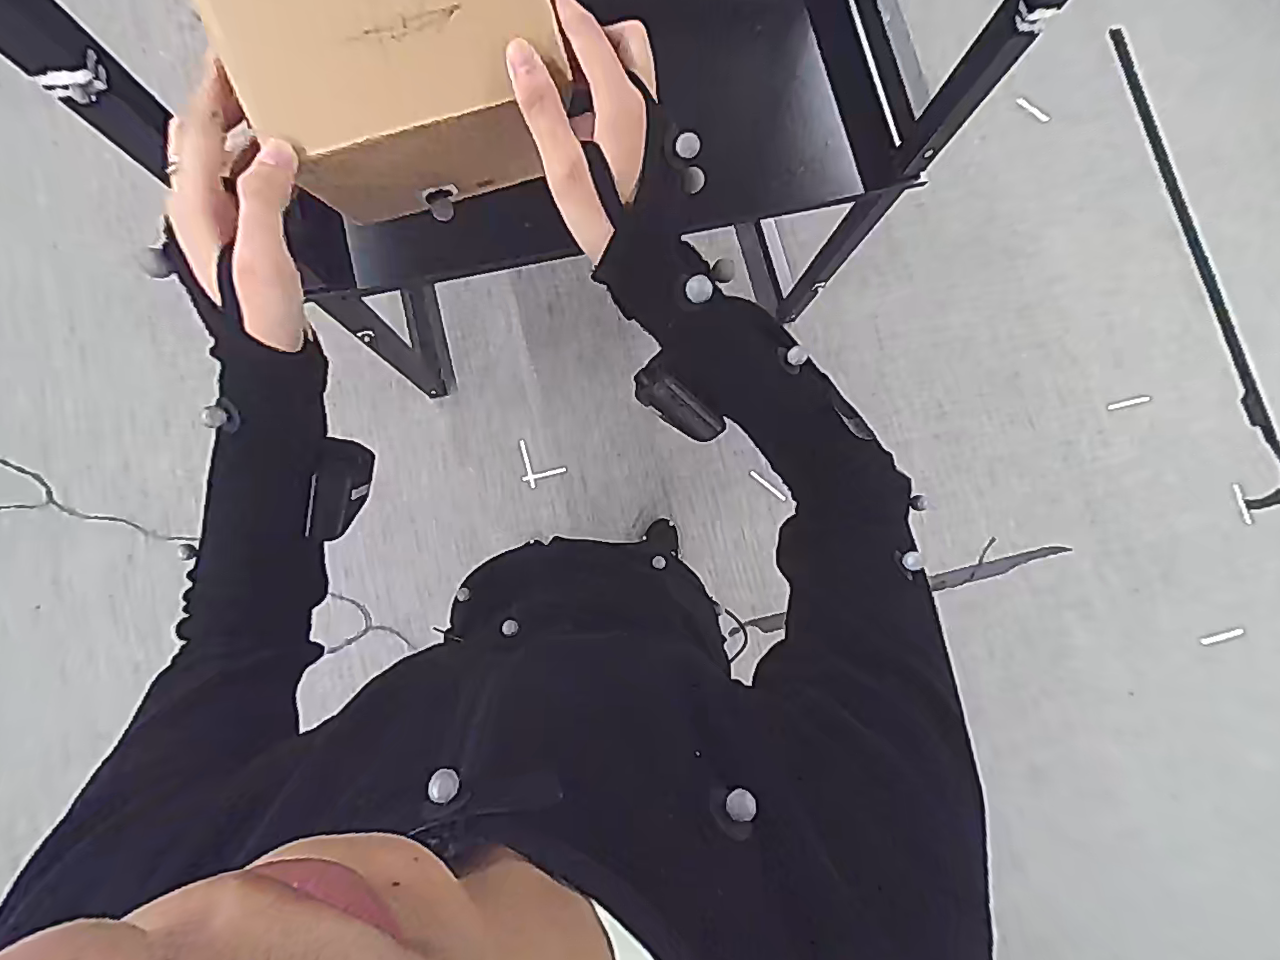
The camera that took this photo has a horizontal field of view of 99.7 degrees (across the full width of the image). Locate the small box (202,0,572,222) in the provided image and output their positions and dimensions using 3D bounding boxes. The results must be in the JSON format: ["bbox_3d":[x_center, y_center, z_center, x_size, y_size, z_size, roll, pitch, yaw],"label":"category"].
[{"bbox_3d":[-0.151,-0.289,0.337,0.168,0.176,0.179,-20,107,-5],"label":"small box"}]
